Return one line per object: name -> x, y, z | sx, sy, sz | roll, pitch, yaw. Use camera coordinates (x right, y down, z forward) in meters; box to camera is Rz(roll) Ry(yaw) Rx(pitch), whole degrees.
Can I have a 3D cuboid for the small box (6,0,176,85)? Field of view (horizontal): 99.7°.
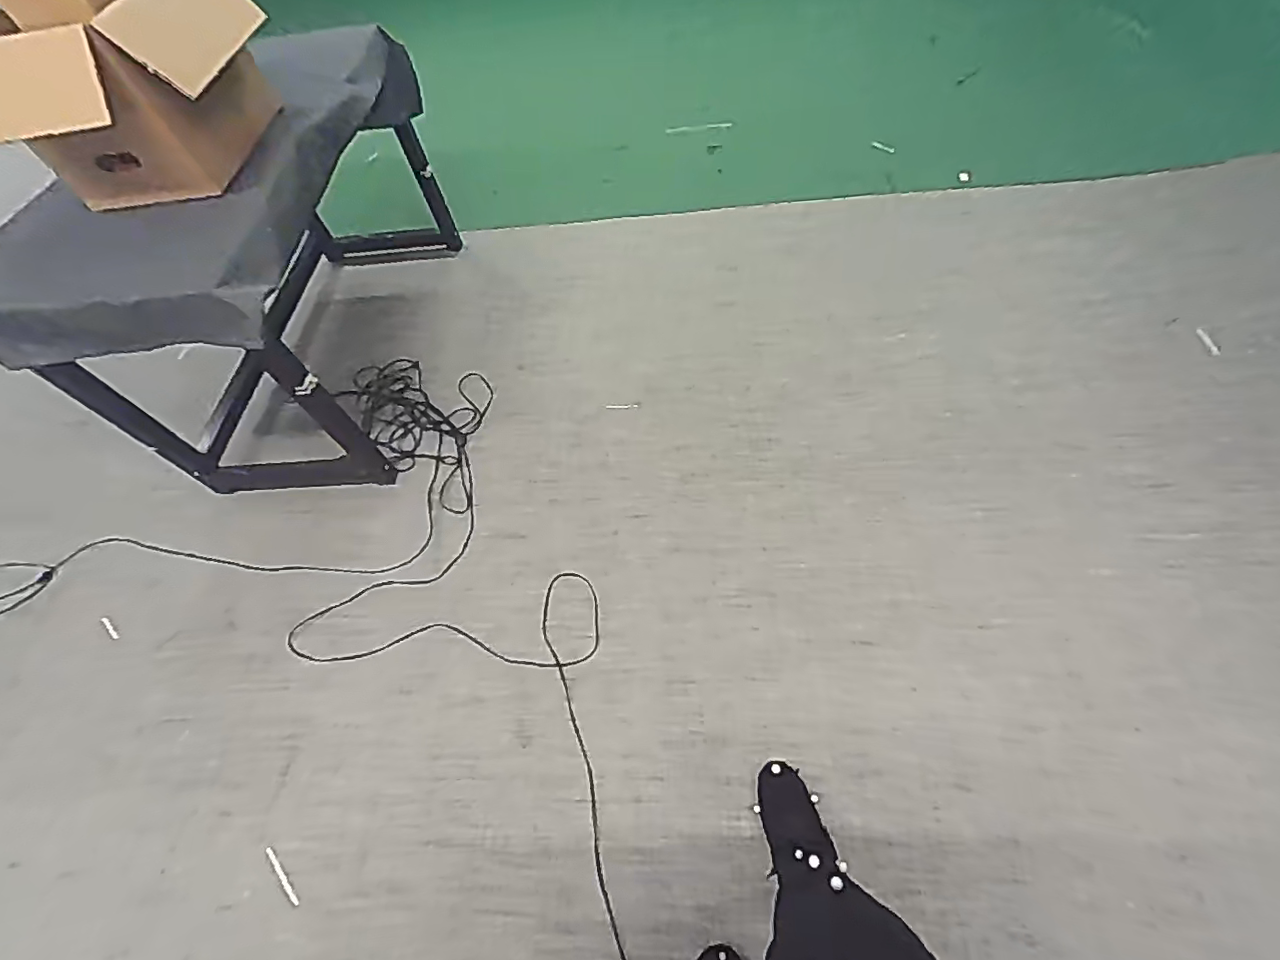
small box -> -1.087, -0.923, 1.075 | 0.168, 0.176, 0.179 | -4, 58, 5
